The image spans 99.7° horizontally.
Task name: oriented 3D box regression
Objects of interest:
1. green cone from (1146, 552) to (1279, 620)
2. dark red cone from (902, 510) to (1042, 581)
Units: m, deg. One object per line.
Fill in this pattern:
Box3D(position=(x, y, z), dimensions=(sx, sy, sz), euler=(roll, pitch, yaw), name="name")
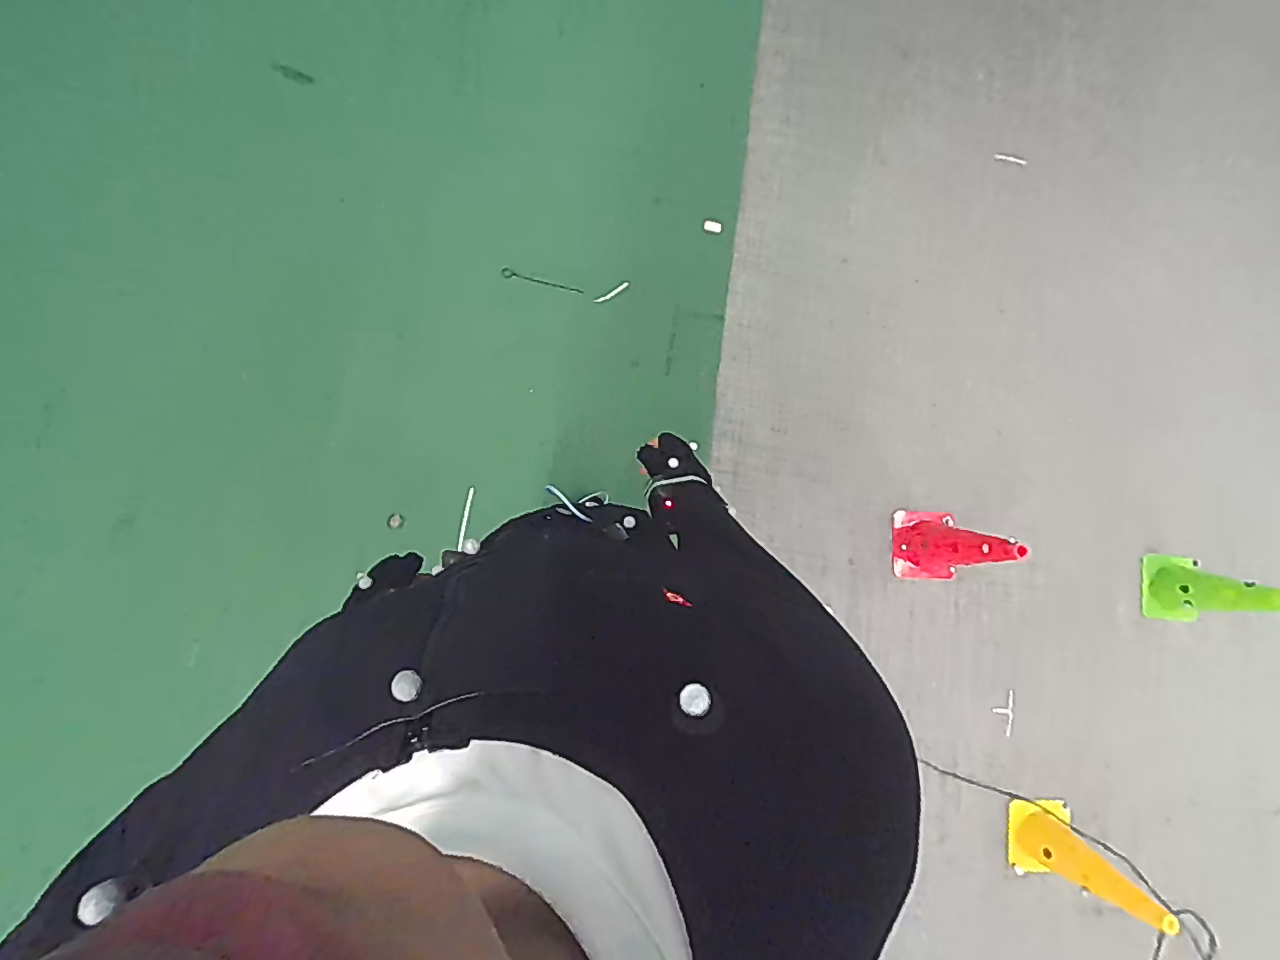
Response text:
Box3D(position=(1.700, 0.325, 1.528), dimensions=(0.200, 0.368, 0.202), euler=(6, 86, -6), name="green cone")
Box3D(position=(0.873, 0.179, 1.413), dimensions=(0.201, 0.394, 0.202), euler=(2, 85, -6), name="dark red cone")
